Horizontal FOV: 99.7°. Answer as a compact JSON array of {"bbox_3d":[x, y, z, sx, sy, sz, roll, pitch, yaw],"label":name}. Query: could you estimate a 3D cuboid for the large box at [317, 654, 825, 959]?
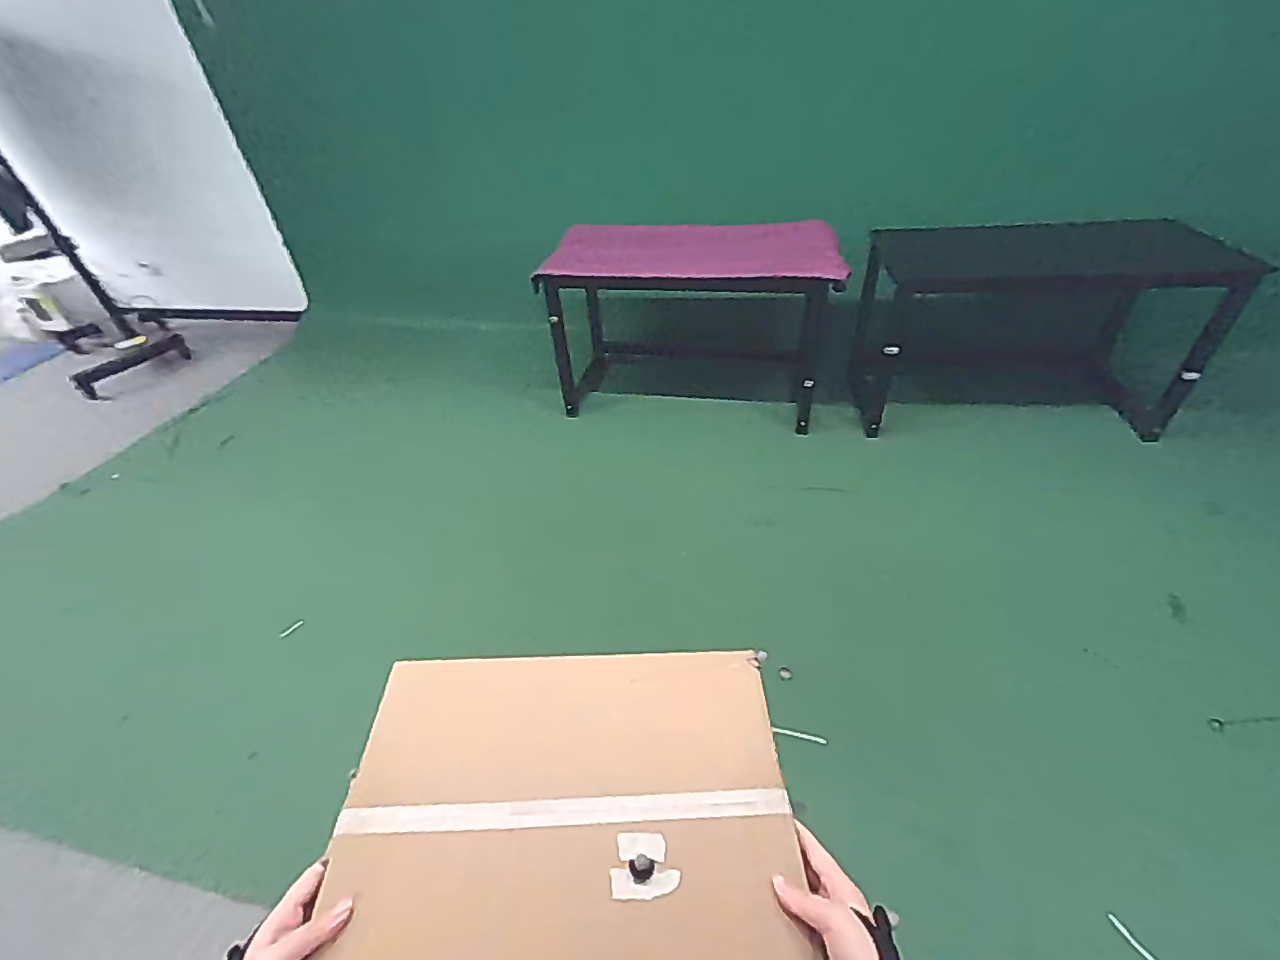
[{"bbox_3d":[-0.063,0.418,0.601,0.408,0.320,0.320,0,42,-3],"label":"large box"}]
